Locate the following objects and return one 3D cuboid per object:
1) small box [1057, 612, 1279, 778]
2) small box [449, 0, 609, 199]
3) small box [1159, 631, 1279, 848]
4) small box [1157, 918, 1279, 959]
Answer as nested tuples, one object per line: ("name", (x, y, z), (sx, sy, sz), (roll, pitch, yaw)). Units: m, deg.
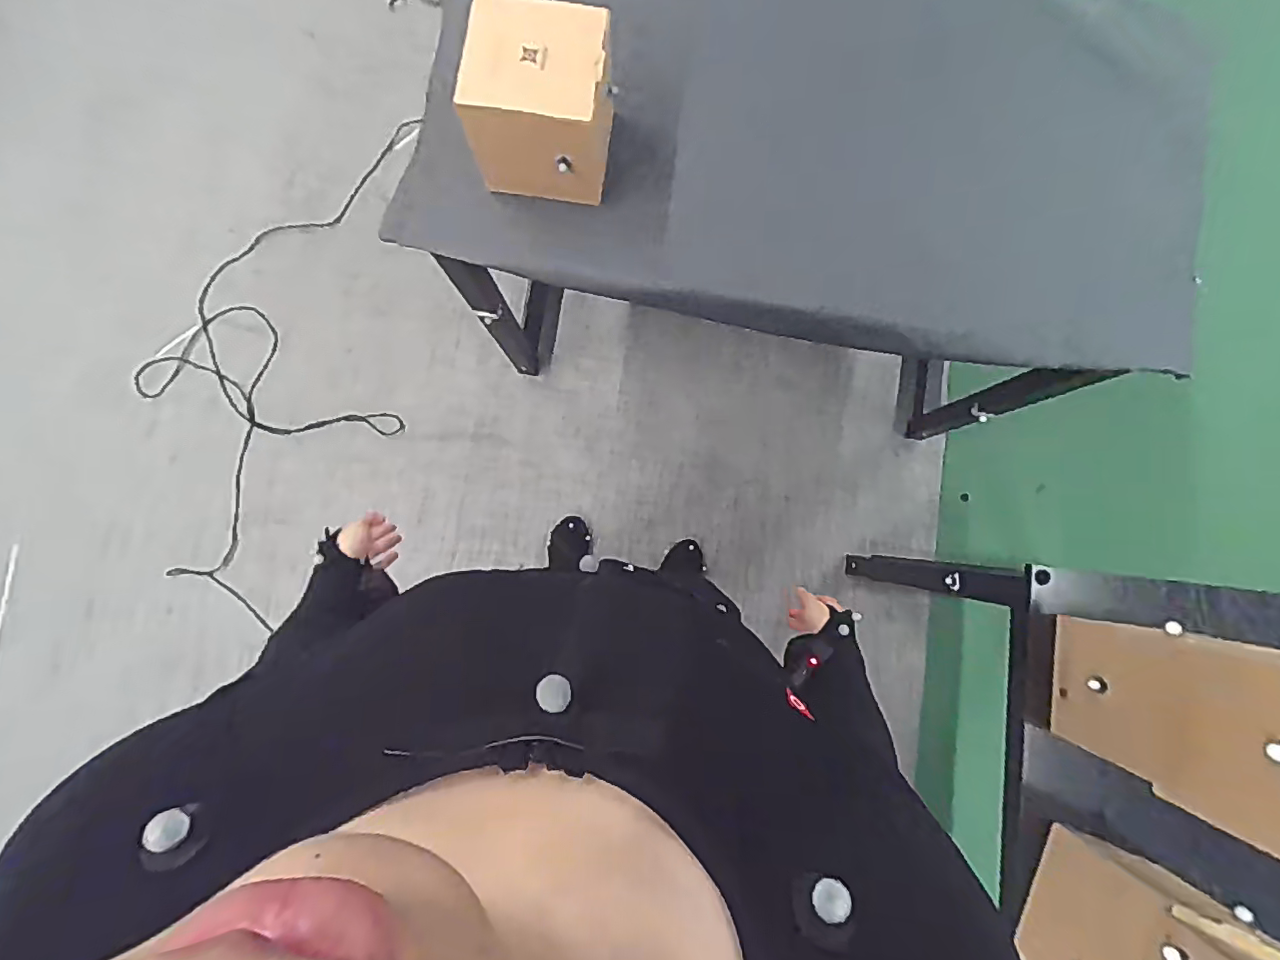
("small box", (0.674, 0.267, 0.682), (0.179, 0.176, 0.168), (7, 86, 0))
("small box", (-0.140, -0.521, 0.753), (0.179, 0.176, 0.168), (7, 83, 1))
("small box", (0.657, 0.258, 0.520), (0.168, 0.176, 0.179), (7, 85, 1))
("small box", (0.610, 0.559, 0.493), (0.179, 0.176, 0.168), (25, 86, 1))
